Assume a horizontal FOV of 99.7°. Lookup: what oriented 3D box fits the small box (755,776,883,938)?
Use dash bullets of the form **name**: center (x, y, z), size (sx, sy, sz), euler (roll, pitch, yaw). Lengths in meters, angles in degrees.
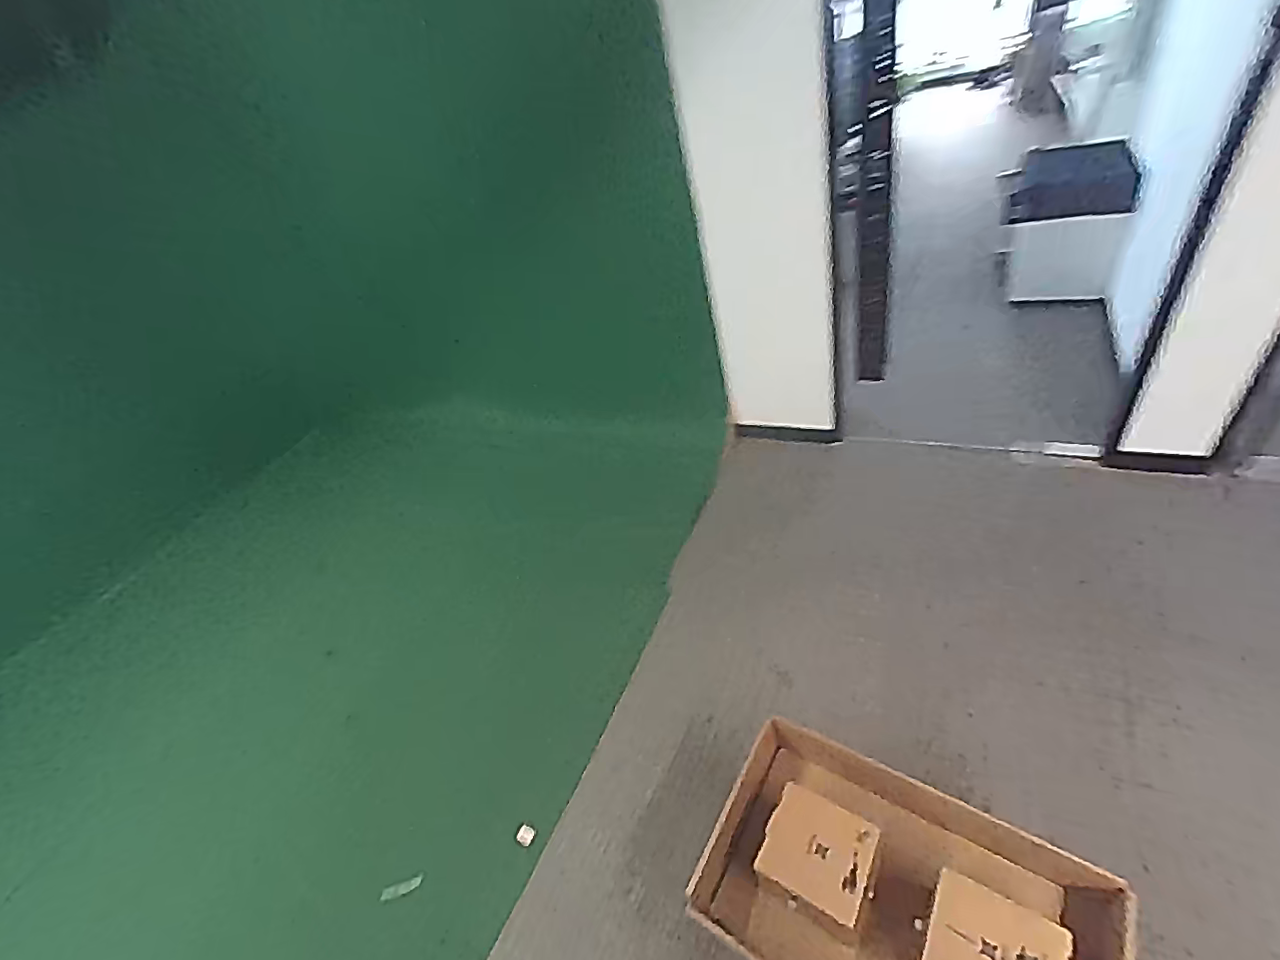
- **small box**: center (0.337, 0.702, 1.008), size (0.179, 0.176, 0.168), euler (14, 49, 35)
